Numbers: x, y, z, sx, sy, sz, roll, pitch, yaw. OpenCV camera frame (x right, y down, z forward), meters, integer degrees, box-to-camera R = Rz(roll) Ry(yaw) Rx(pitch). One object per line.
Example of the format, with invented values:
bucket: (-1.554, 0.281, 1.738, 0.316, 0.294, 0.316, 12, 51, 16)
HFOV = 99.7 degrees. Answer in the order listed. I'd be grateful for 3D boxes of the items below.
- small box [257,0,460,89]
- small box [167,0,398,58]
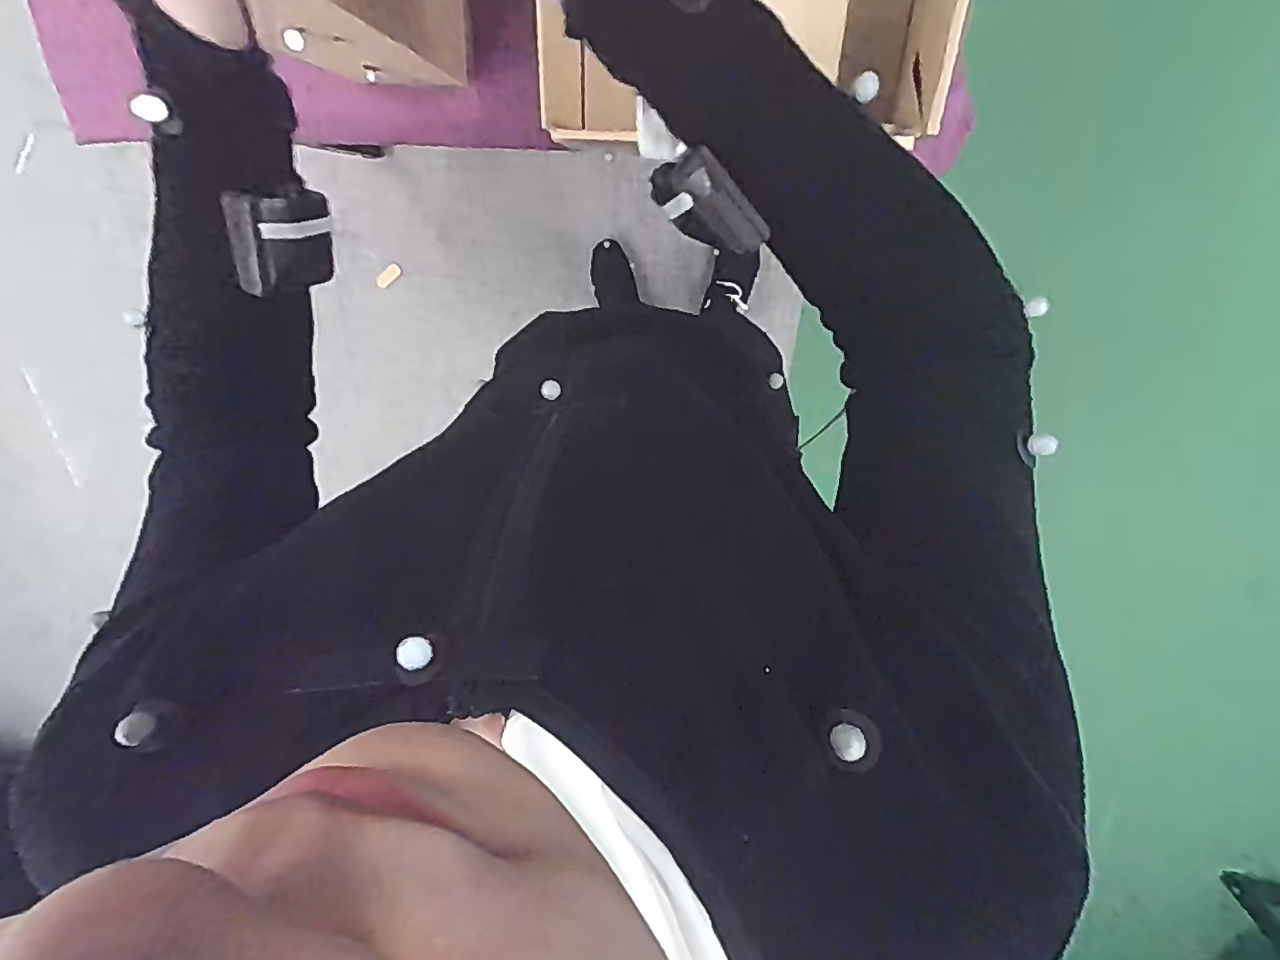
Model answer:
small box: (-0.316, -0.566, 0.611, 0.168, 0.176, 0.179, 6, 115, 4)
small box: (-0.333, -0.498, 0.463, 0.168, 0.176, 0.179, 6, 115, 4)
